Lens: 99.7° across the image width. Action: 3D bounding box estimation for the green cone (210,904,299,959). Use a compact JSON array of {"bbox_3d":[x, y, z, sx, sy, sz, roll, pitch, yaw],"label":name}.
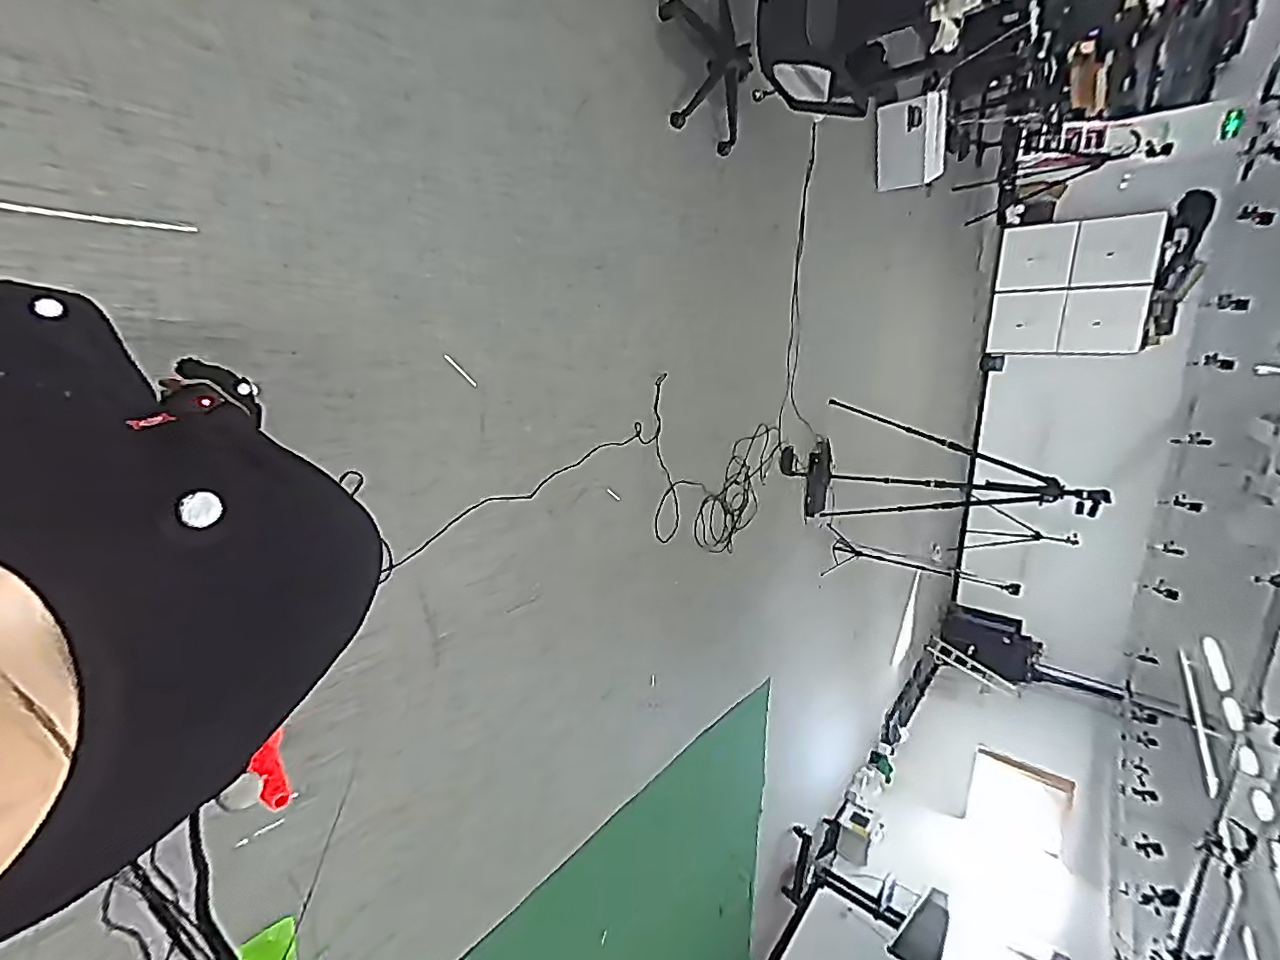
[{"bbox_3d":[-0.937,1.350,1.400,0.200,0.368,0.202,-11,107,-49],"label":"green cone"}]
